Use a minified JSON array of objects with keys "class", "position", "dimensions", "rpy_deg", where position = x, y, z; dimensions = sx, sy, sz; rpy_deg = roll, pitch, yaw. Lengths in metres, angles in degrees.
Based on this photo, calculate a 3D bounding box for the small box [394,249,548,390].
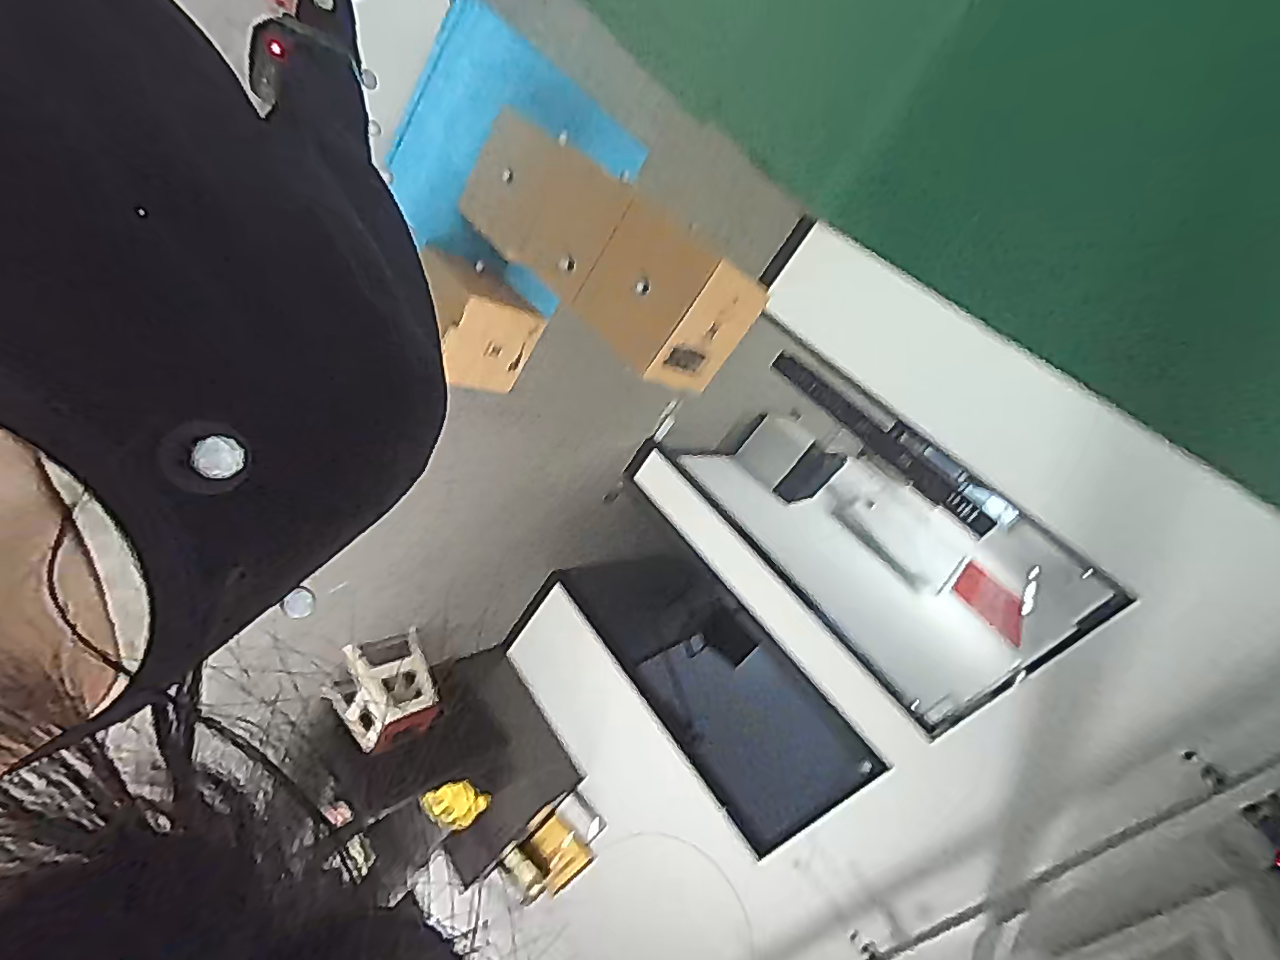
[{"class":"small box","position":[-0.309,-0.288,0.977],"dimensions":[0.168,0.176,0.179],"rpy_deg":[-53,154,22]}]

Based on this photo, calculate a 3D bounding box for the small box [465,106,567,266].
[{"class":"small box","position":[-0.164,-0.467,0.900],"dimensions":[0.168,0.176,0.179],"rpy_deg":[-2,134,-56]}]
